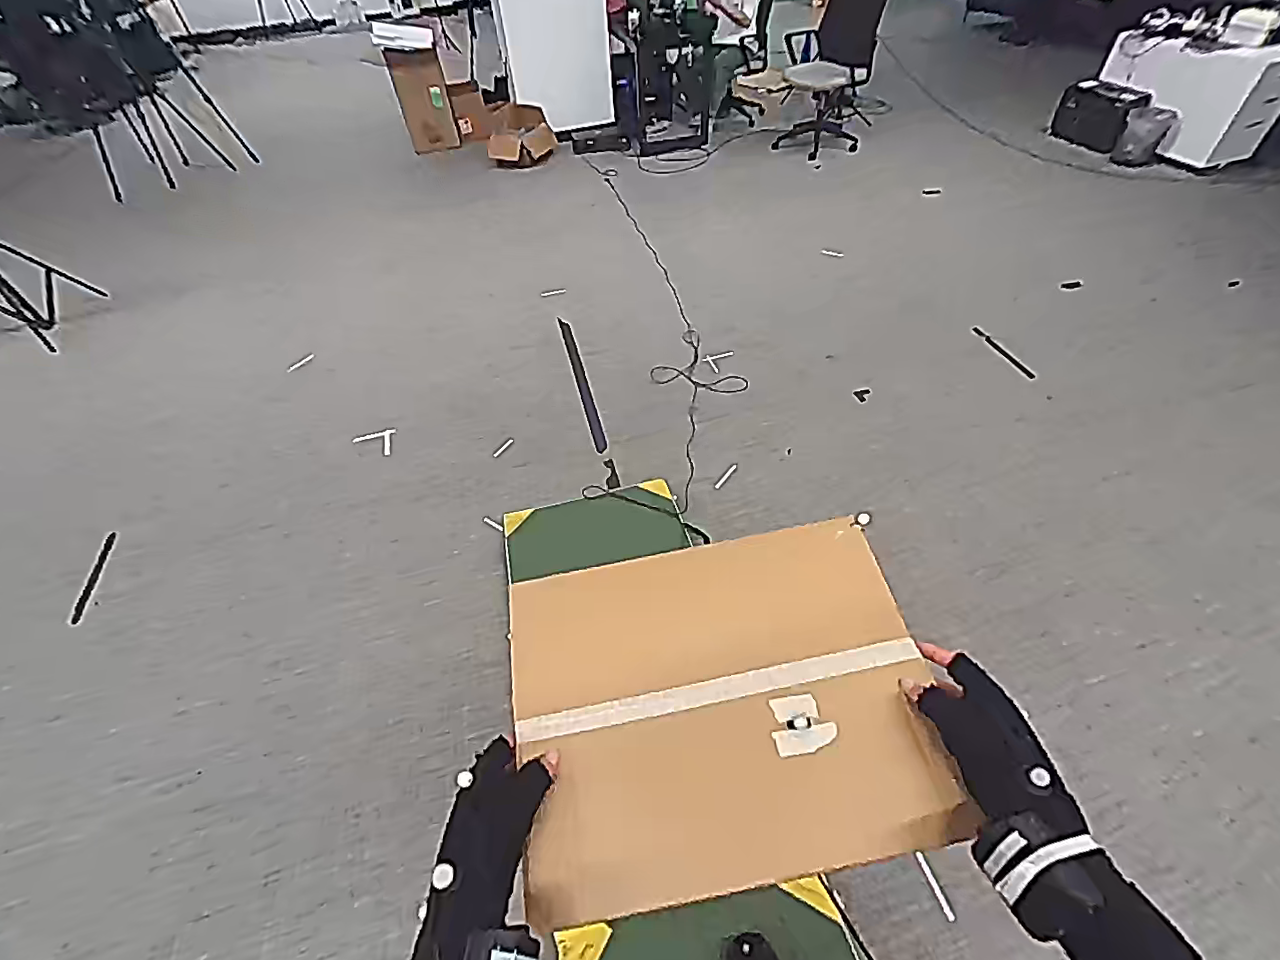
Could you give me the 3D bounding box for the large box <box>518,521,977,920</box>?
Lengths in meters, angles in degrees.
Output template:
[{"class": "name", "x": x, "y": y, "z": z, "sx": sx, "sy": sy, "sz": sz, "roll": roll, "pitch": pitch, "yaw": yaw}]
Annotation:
[{"class": "large box", "x": 0.090, "y": 0.294, "z": 0.676, "sx": 0.408, "sy": 0.320, "sz": 0.320, "roll": -11, "pitch": 57, "yaw": -2}]
